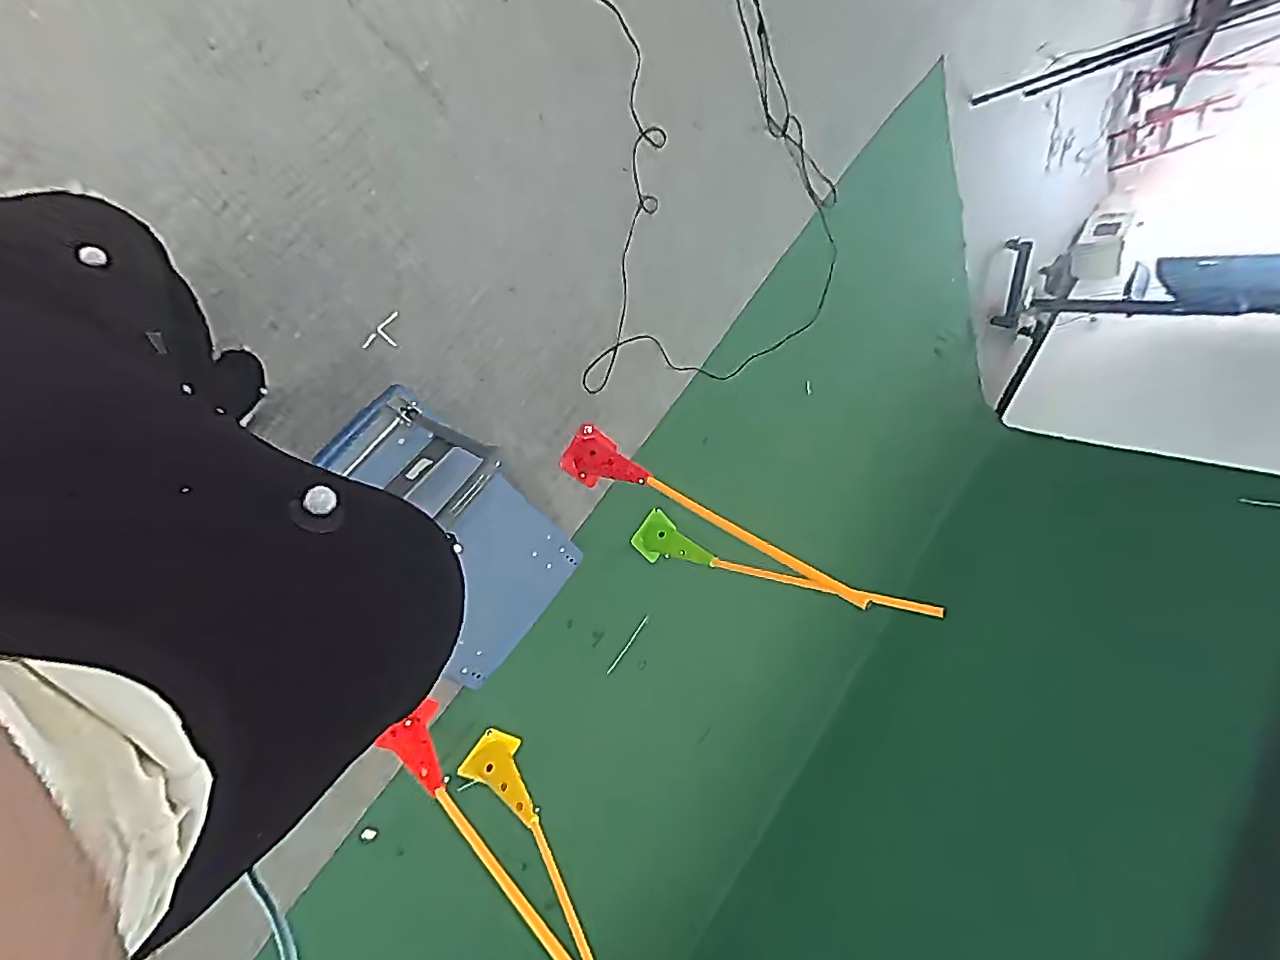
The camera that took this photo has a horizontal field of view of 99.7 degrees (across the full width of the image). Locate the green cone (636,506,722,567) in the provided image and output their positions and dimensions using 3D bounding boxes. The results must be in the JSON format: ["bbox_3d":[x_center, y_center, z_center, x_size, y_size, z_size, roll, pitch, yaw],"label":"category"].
[{"bbox_3d":[0.191,0.281,2.255,0.200,0.368,0.202,-54,133,-14],"label":"green cone"}]

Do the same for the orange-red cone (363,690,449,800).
[{"bbox_3d":[-0.683,0.860,1.692,0.198,0.360,0.199,-53,134,-13],"label":"orange-red cone"}]
